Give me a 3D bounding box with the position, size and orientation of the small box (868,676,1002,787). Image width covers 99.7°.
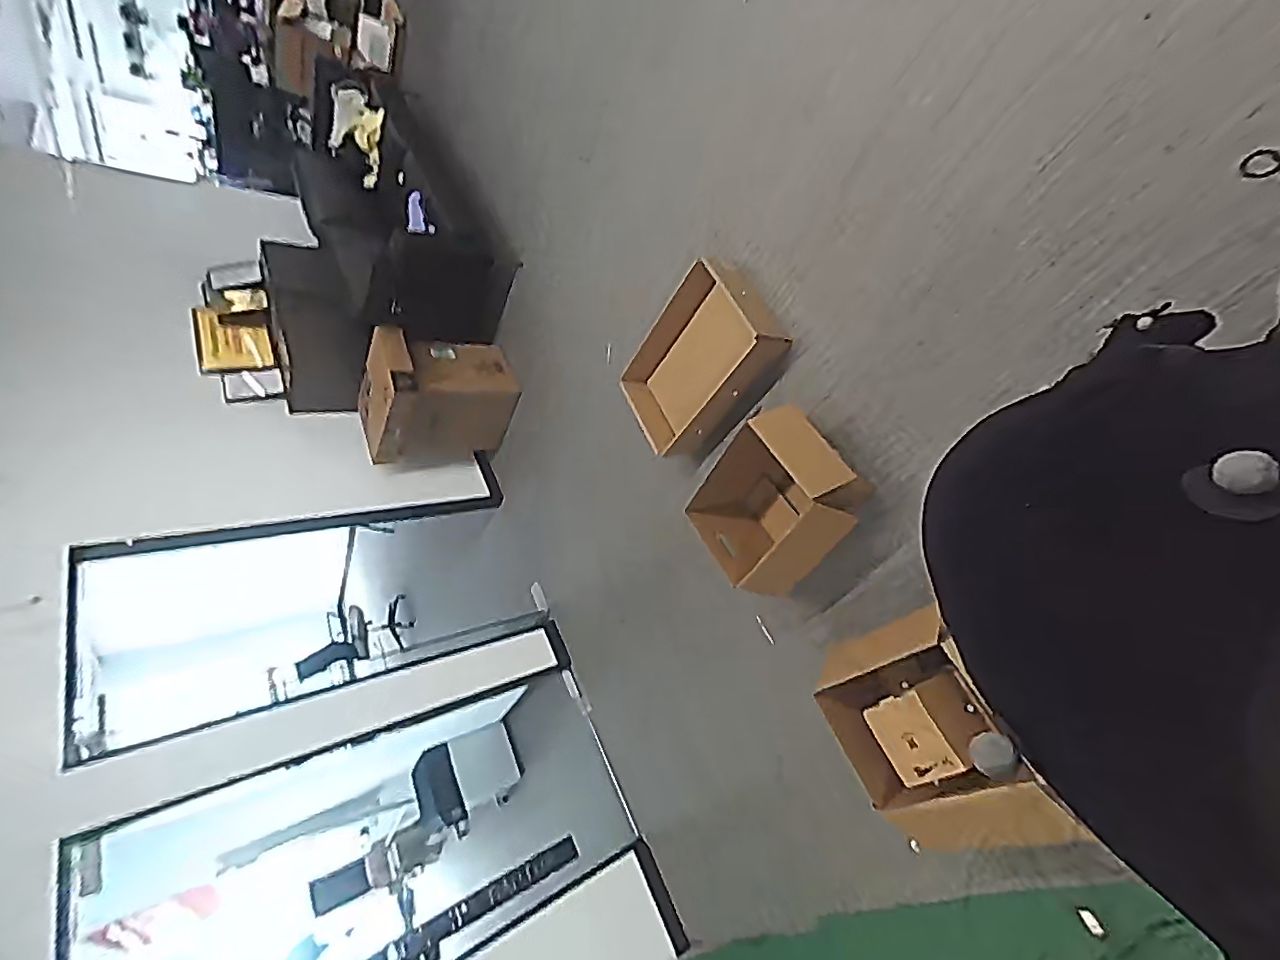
[{"bbox_3d":[0.675,0.568,1.240,0.168,0.176,0.179,-55,50,43],"label":"small box"}]
